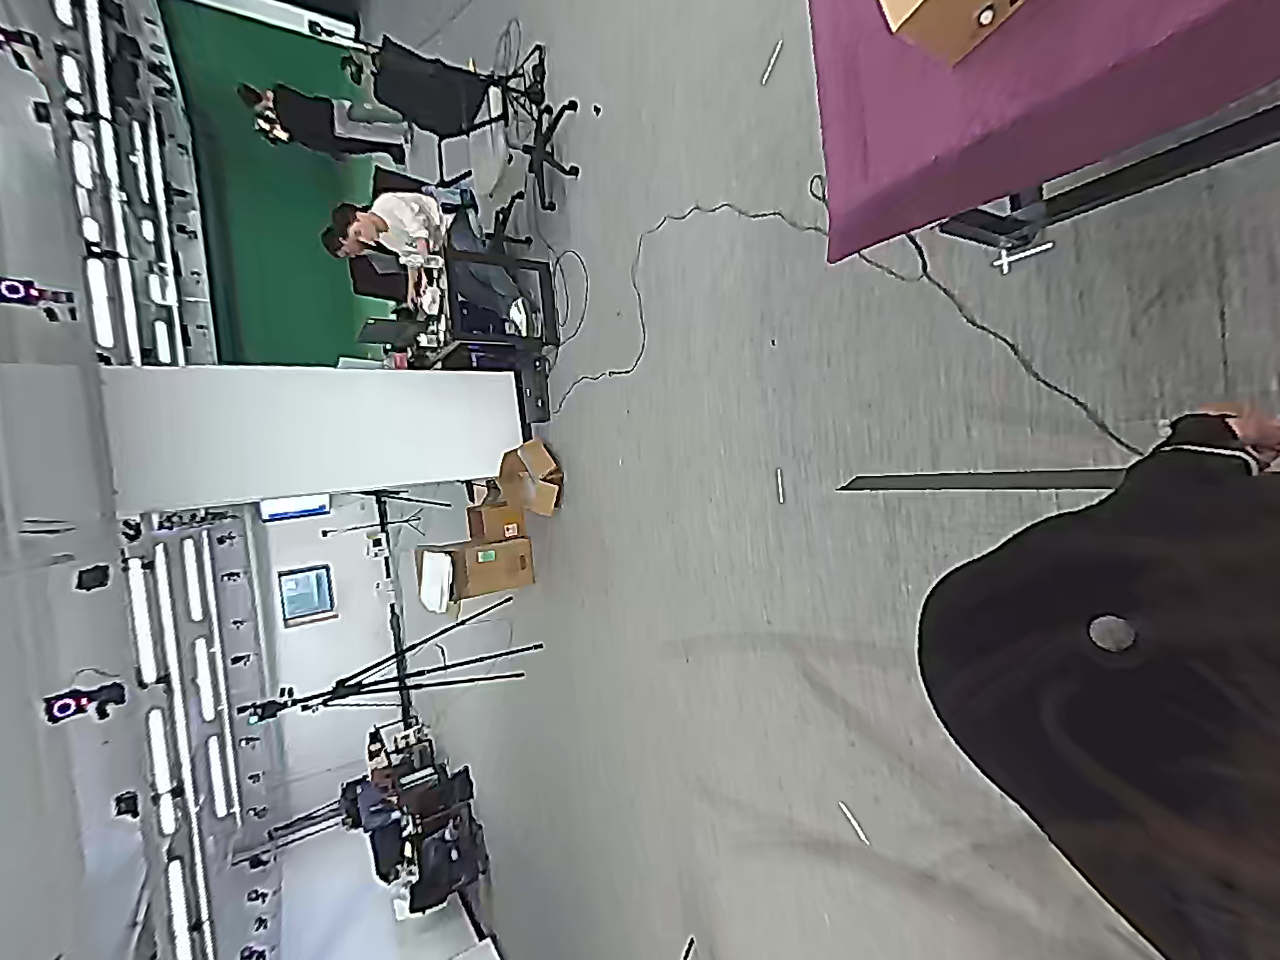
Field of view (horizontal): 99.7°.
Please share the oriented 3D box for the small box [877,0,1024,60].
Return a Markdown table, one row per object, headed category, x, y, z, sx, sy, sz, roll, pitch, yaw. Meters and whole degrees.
| category | x | y | z | sx | sy | sz | roll | pitch | yaw |
| --- | --- | --- | --- | --- | --- | --- | --- | --- | --- |
| small box | 0.444 | -0.748 | 0.761 | 0.168 | 0.176 | 0.179 | -28 | 73 | 56 |
